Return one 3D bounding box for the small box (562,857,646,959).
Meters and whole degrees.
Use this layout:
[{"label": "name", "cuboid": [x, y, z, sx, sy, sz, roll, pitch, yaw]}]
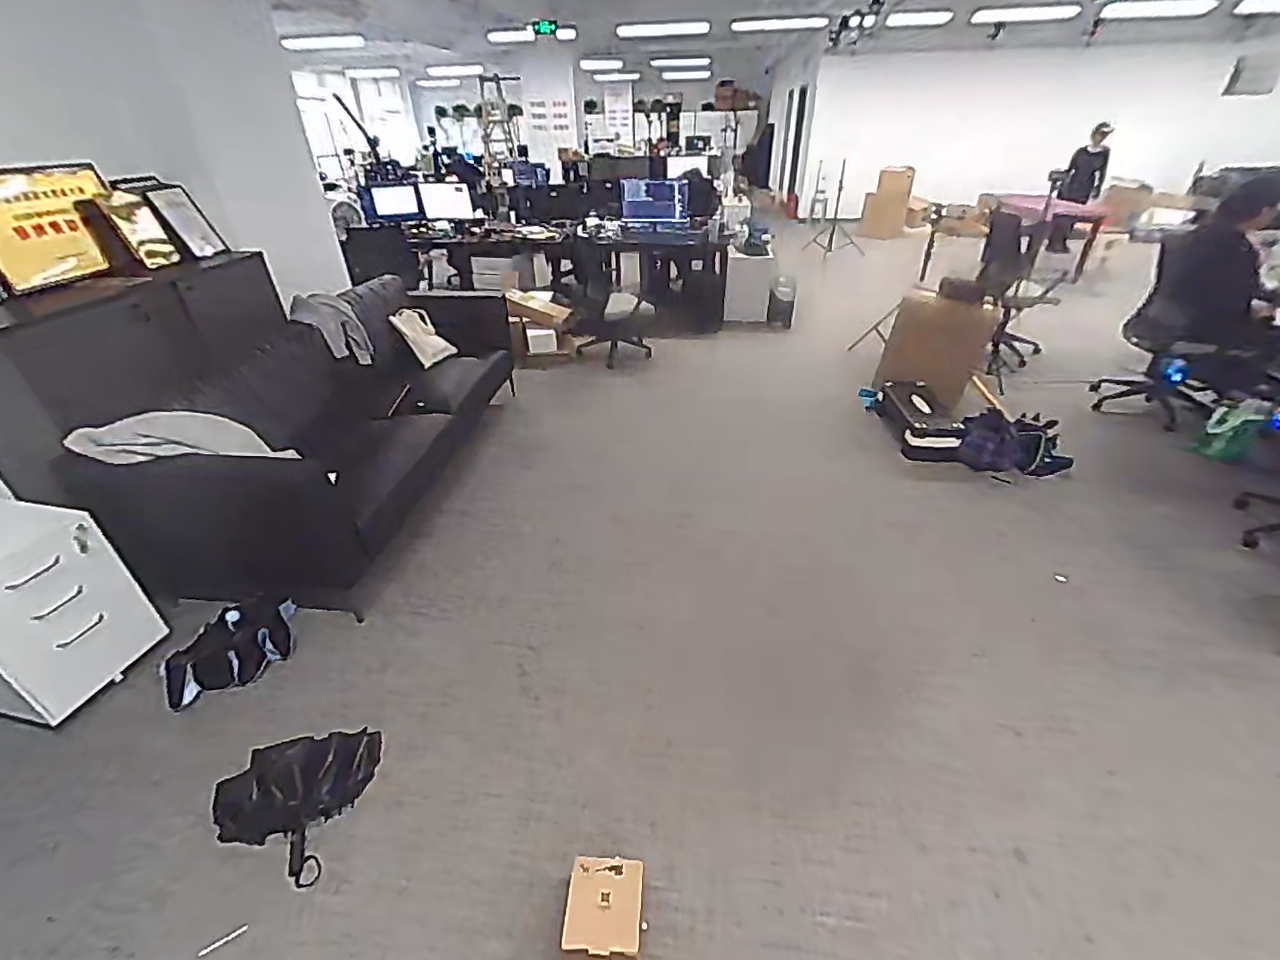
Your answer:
[{"label": "small box", "cuboid": [-0.074, 1.002, 1.237, 0.168, 0.176, 0.179, 1, 35, 4]}]
